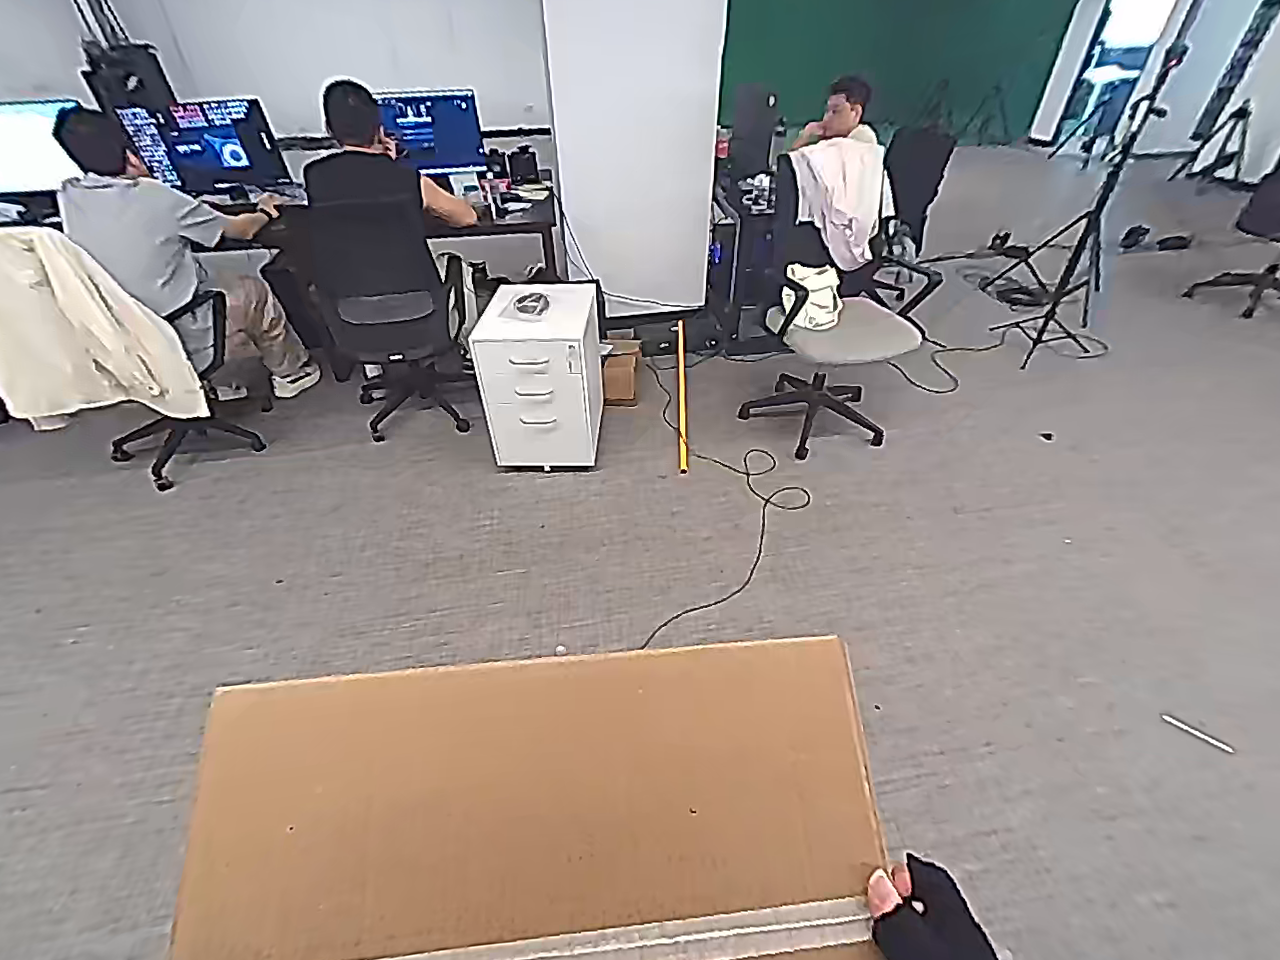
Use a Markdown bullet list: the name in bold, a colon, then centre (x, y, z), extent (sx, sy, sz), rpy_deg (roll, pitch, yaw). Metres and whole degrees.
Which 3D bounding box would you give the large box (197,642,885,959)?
- **large box**: centre (-0.059, 0.322, 0.458), extent (0.408, 0.320, 0.320), rpy_deg (-4, 71, -5)
